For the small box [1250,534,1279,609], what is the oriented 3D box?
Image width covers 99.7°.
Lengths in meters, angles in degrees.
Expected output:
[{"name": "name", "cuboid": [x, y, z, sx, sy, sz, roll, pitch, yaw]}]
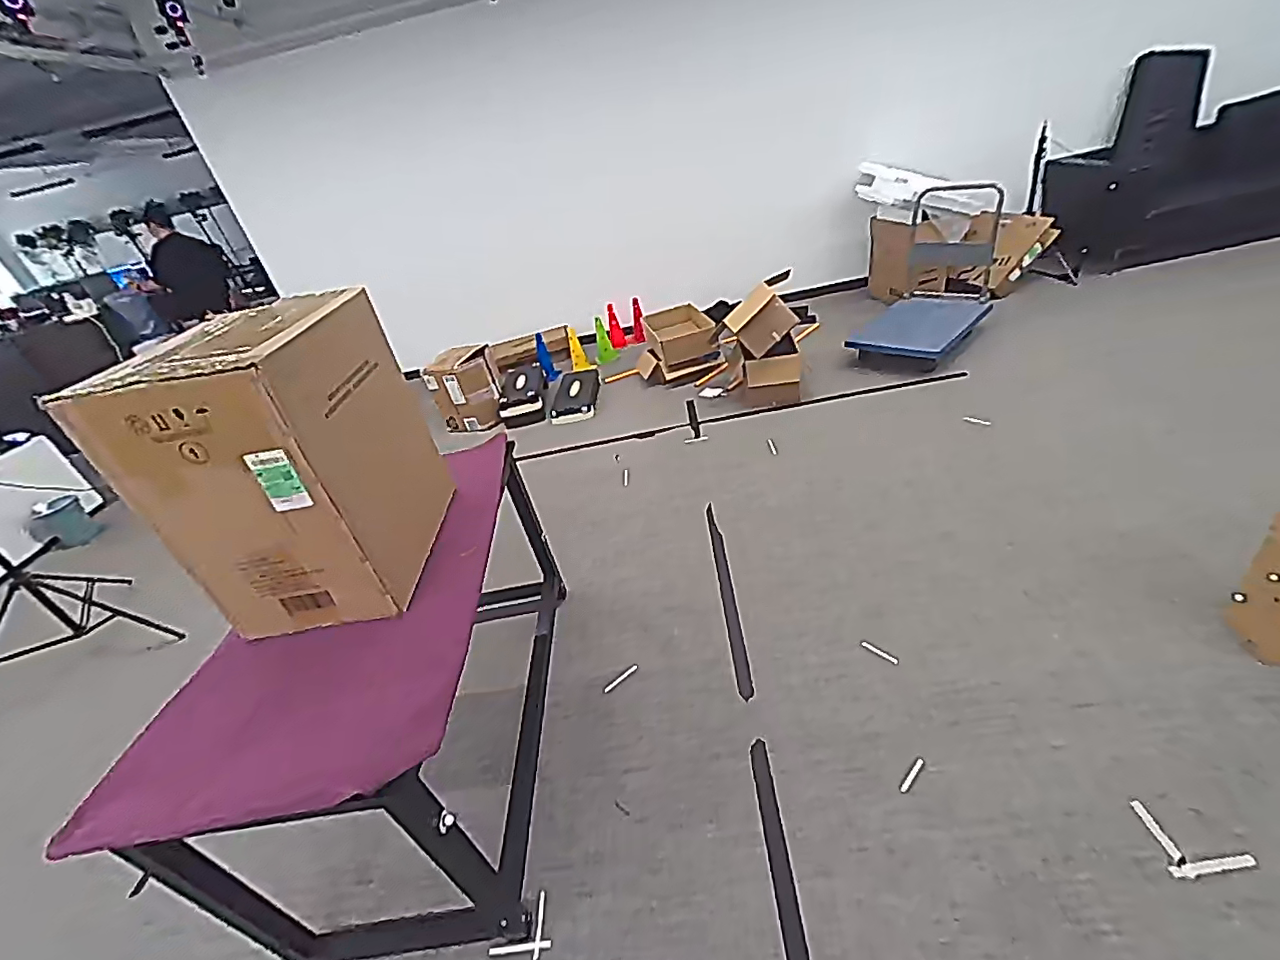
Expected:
[{"name": "small box", "cuboid": [1.770, 0.249, 1.411, 0.179, 0.176, 0.168, -6, 33, 10]}]
